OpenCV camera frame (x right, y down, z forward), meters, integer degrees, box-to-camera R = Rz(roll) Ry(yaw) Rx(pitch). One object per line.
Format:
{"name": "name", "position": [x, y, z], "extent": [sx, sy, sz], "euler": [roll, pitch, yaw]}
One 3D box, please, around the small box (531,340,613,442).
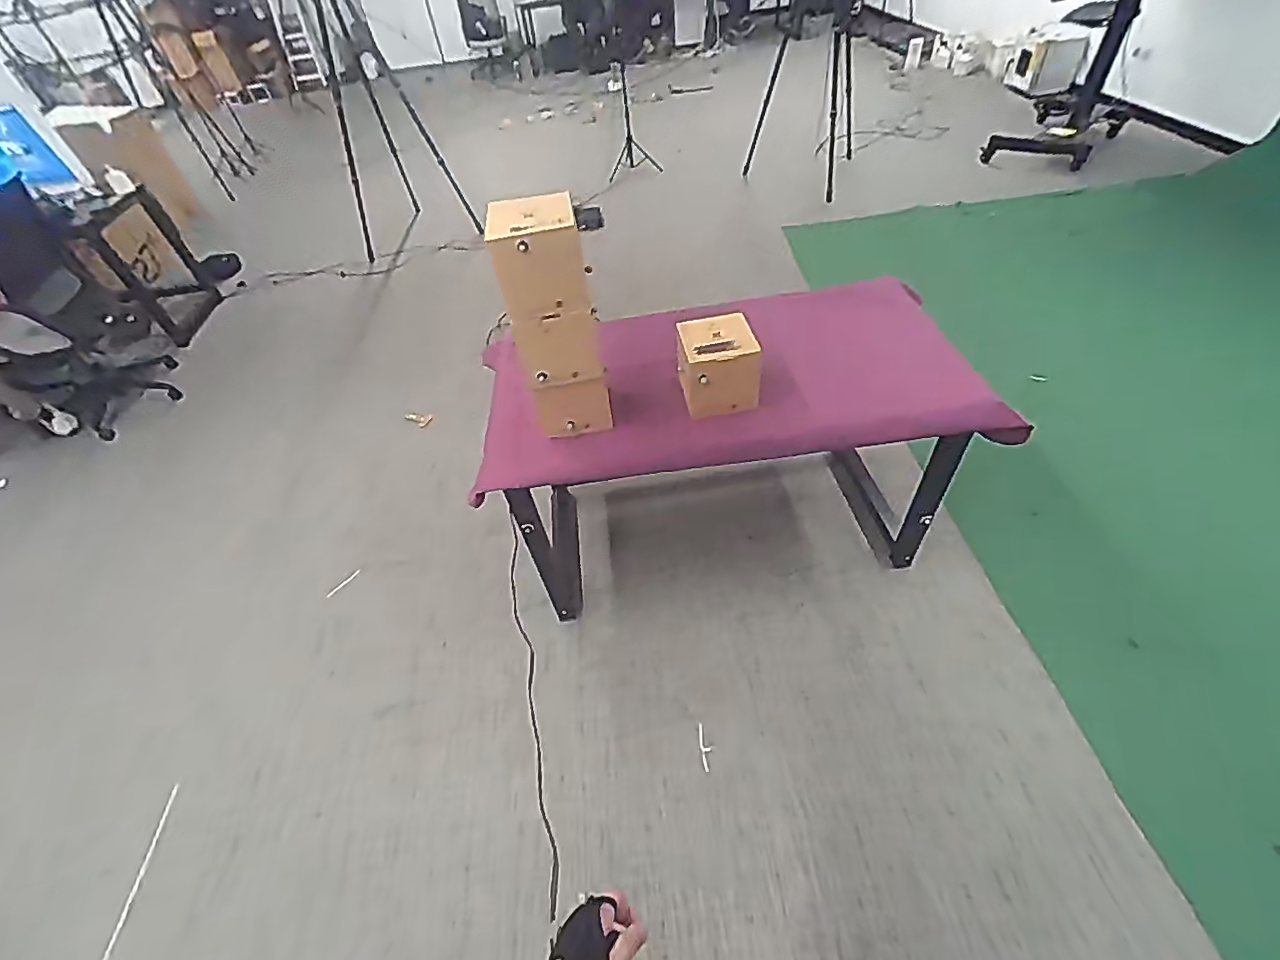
{"name": "small box", "position": [-0.164, -0.219, 1.322], "extent": [0.168, 0.176, 0.179], "euler": [-10, 48, 0]}

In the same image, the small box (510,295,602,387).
{"name": "small box", "position": [-0.181, -0.322, 1.196], "extent": [0.168, 0.176, 0.179], "euler": [-10, 46, 0]}

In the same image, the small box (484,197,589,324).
{"name": "small box", "position": [-0.200, -0.437, 1.081], "extent": [0.168, 0.176, 0.179], "euler": [-11, 46, 0]}
